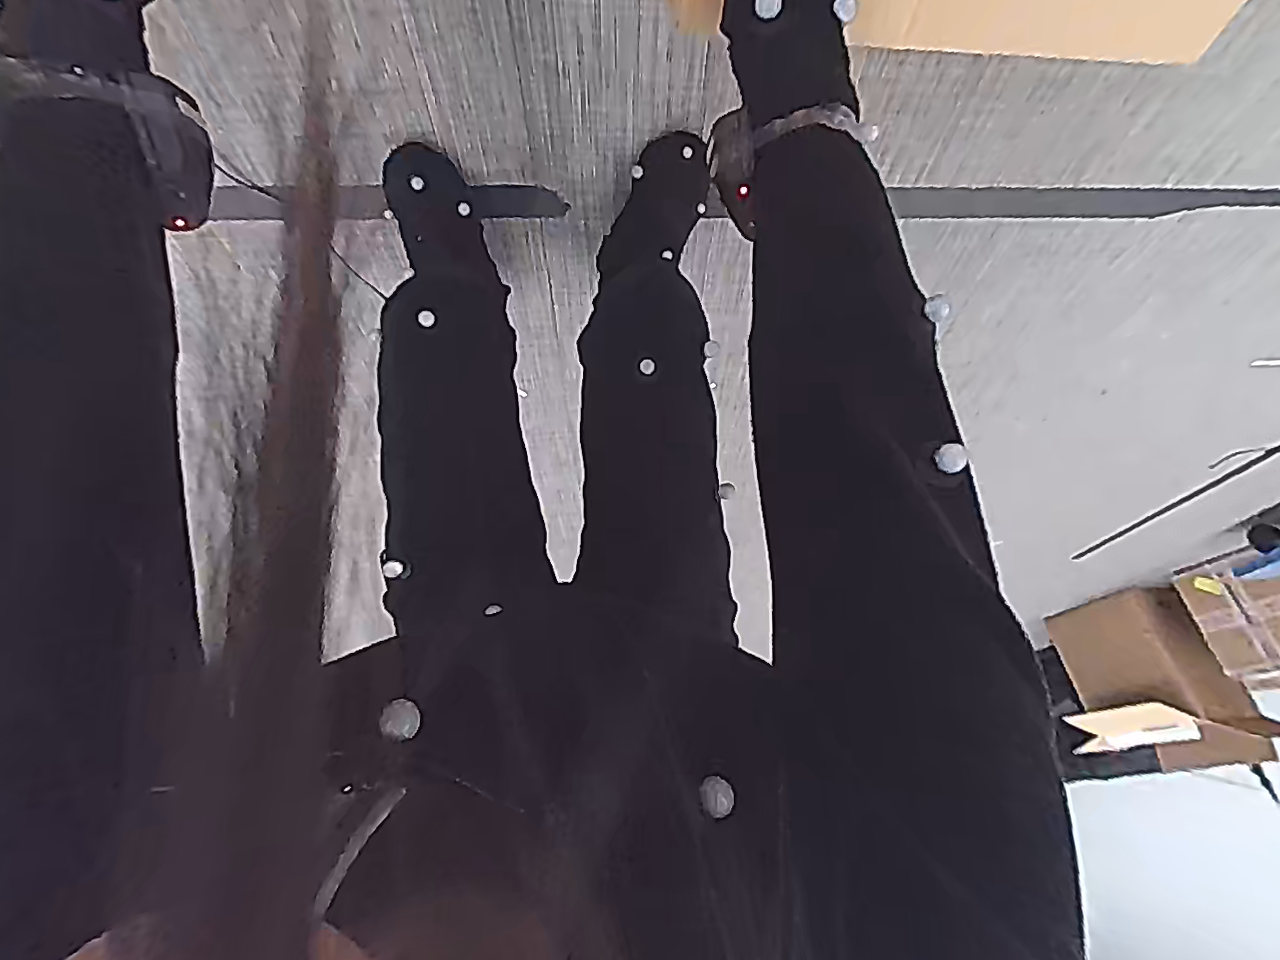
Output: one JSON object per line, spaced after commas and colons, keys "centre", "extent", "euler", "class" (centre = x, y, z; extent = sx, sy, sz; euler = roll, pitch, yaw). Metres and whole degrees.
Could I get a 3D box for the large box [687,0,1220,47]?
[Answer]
{"centre": [0.227, -0.539, 0.353], "extent": [0.408, 0.320, 0.320], "euler": [-2, 150, -6], "class": "large box"}
